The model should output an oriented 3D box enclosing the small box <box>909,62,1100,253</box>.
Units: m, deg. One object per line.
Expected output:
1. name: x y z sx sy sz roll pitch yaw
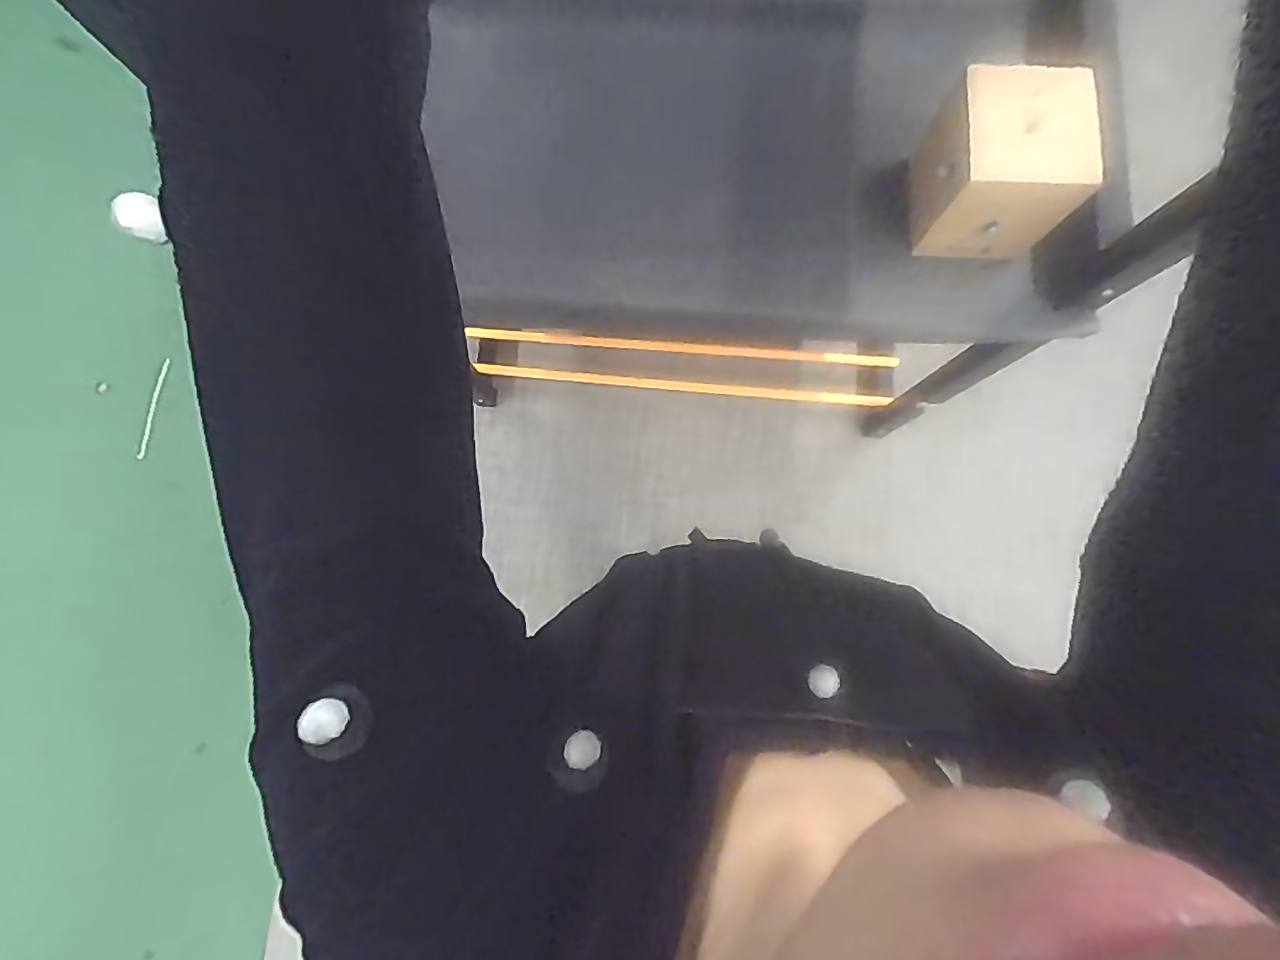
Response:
1. small box: 0.506 -0.449 0.775 0.168 0.176 0.179 3 80 2
